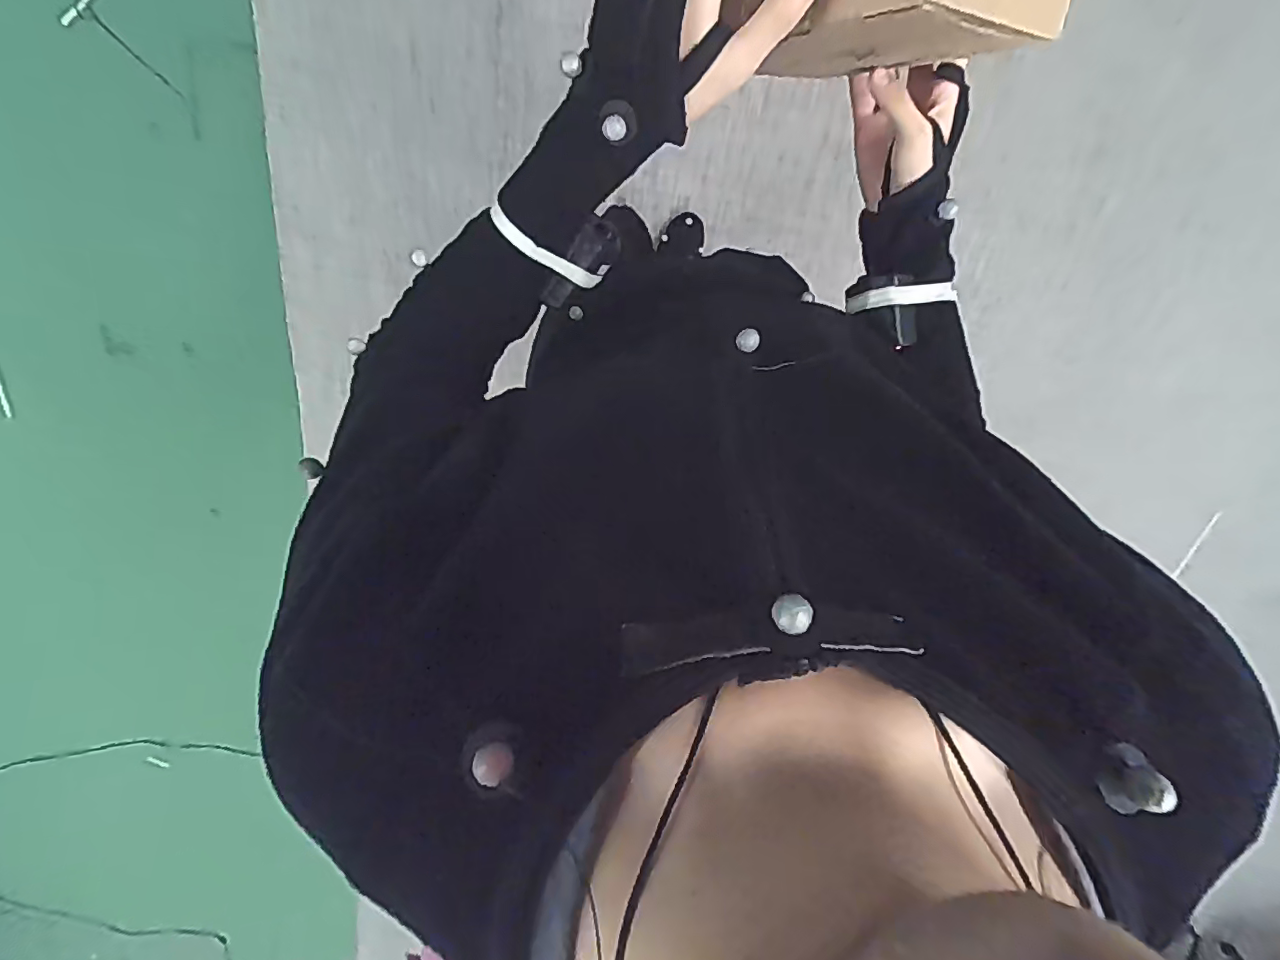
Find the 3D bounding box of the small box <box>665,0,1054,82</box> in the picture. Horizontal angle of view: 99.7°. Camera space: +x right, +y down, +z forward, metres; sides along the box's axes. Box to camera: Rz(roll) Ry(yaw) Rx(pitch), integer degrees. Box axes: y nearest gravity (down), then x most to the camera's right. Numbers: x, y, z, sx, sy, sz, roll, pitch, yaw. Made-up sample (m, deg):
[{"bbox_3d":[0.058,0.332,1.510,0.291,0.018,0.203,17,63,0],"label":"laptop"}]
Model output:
[{"bbox_3d":[0.130,-0.339,0.297,0.179,0.168,0.176,-24,129,-35],"label":"small box"}]
